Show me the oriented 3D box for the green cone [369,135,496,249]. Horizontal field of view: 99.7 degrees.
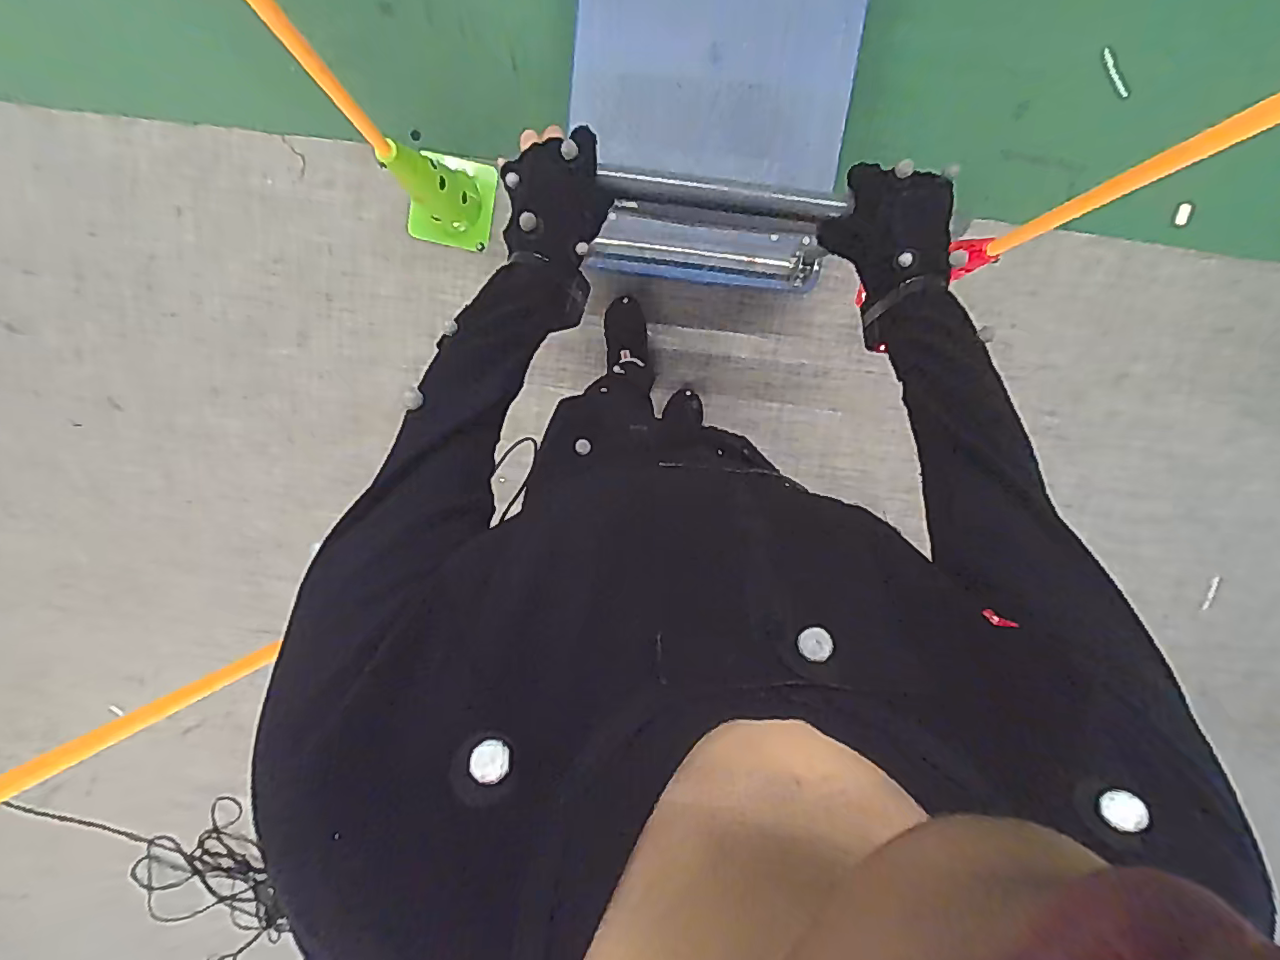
[{"bbox_3d":[-0.465,-0.649,1.159,0.202,0.368,0.200,12,102,-1],"label":"green cone"}]
